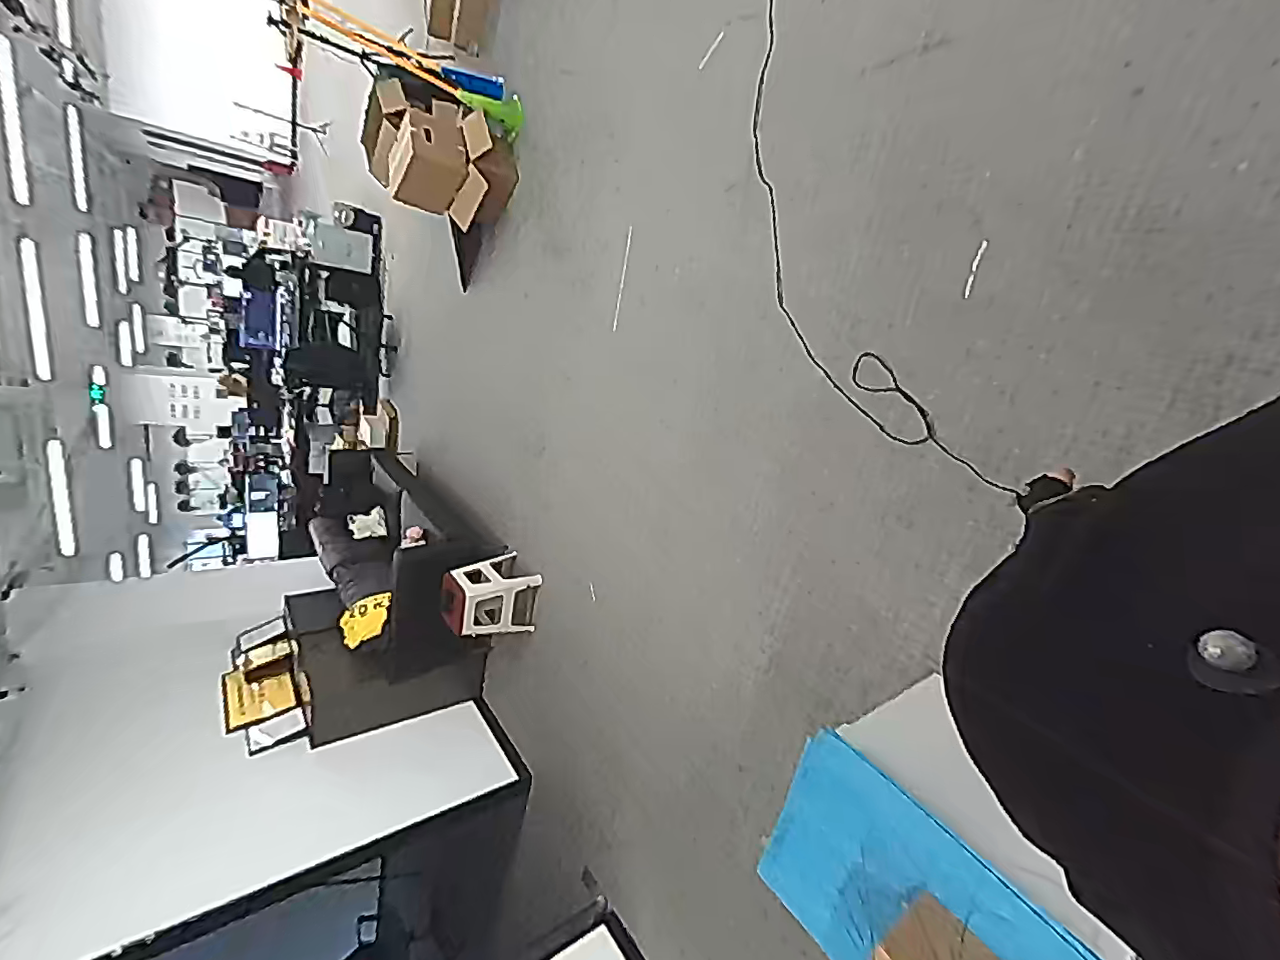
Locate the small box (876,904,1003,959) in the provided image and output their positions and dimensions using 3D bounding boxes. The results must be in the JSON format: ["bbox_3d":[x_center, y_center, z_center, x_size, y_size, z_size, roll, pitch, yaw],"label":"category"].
[{"bbox_3d":[0.476,0.822,0.850,0.179,0.176,0.168,31,116,44],"label":"small box"}]
